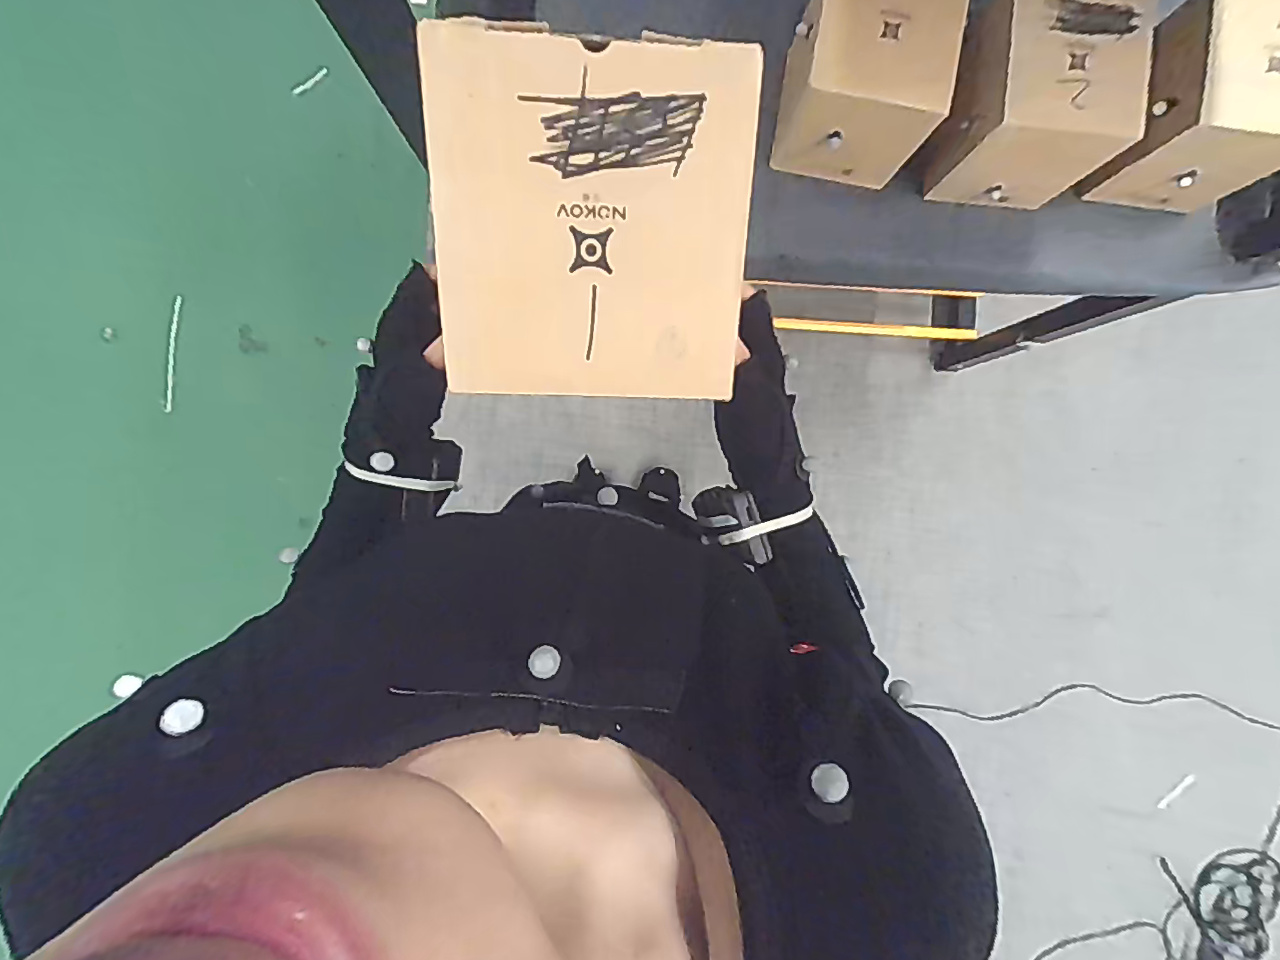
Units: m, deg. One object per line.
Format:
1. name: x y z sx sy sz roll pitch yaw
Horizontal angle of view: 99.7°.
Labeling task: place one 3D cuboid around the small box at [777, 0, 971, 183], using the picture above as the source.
1. small box: 0.284 -0.514 0.689 0.168 0.176 0.179 10 90 -2

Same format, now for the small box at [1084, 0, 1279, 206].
1. small box: 0.724 -0.484 0.697 0.168 0.176 0.179 7 89 -2
